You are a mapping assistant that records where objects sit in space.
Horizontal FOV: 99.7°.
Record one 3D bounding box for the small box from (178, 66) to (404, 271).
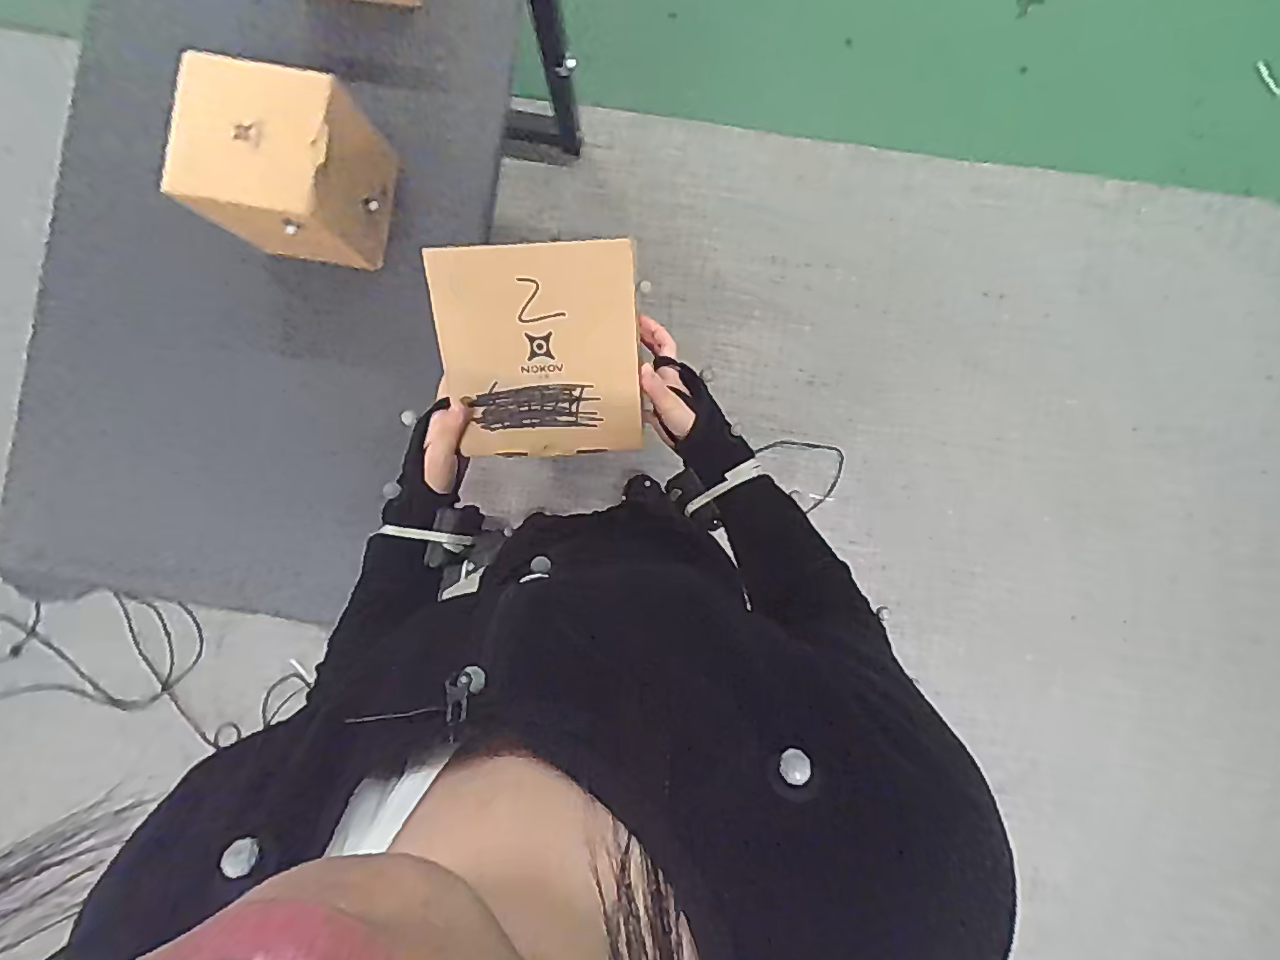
[{"bbox_3d":[-0.445,-0.395,0.715,0.179,0.176,0.168,9,90,1],"label":"small box"}]
